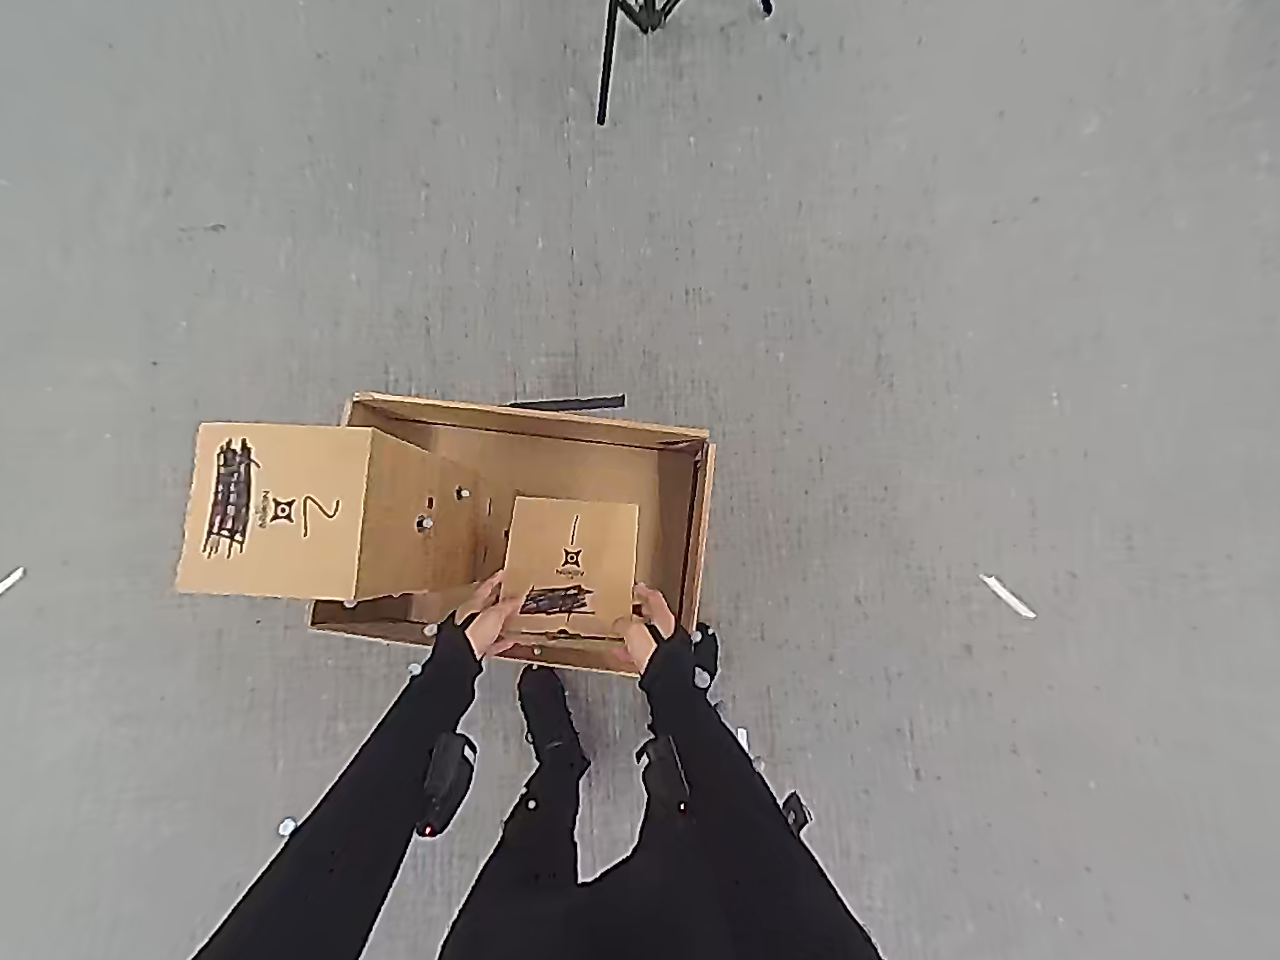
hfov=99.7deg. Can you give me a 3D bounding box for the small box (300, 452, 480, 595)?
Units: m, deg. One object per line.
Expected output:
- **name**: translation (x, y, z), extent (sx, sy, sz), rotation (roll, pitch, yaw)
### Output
- **small box**: translation (-0.332, 0.064, 0.752), extent (0.168, 0.176, 0.179), rotation (1, 83, 2)

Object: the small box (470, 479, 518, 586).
- **small box**: translation (-0.318, 0.085, 0.915), extent (0.179, 0.176, 0.168), rotation (4, 84, 1)

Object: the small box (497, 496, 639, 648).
- **small box**: translation (-0.087, 0.136, 0.755), extent (0.168, 0.176, 0.179), rotation (3, 68, 0)
